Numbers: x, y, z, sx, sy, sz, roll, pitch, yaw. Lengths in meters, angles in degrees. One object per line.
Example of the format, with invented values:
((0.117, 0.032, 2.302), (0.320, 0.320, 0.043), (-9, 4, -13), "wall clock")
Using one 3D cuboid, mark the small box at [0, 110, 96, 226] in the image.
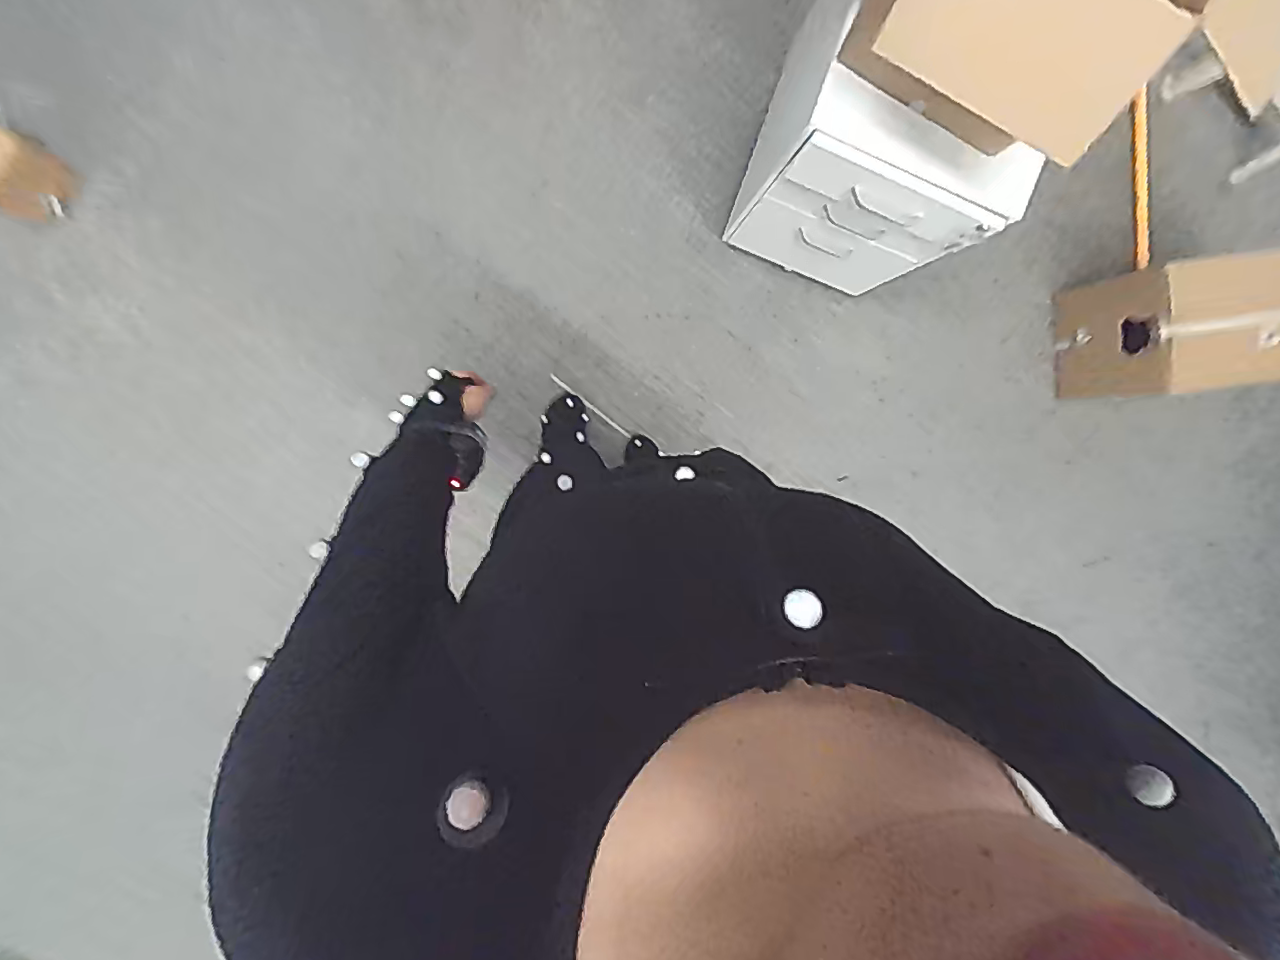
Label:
((-1.388, -0.698, 1.189), (0.179, 0.176, 0.168), (38, 92, -9), "small box")
